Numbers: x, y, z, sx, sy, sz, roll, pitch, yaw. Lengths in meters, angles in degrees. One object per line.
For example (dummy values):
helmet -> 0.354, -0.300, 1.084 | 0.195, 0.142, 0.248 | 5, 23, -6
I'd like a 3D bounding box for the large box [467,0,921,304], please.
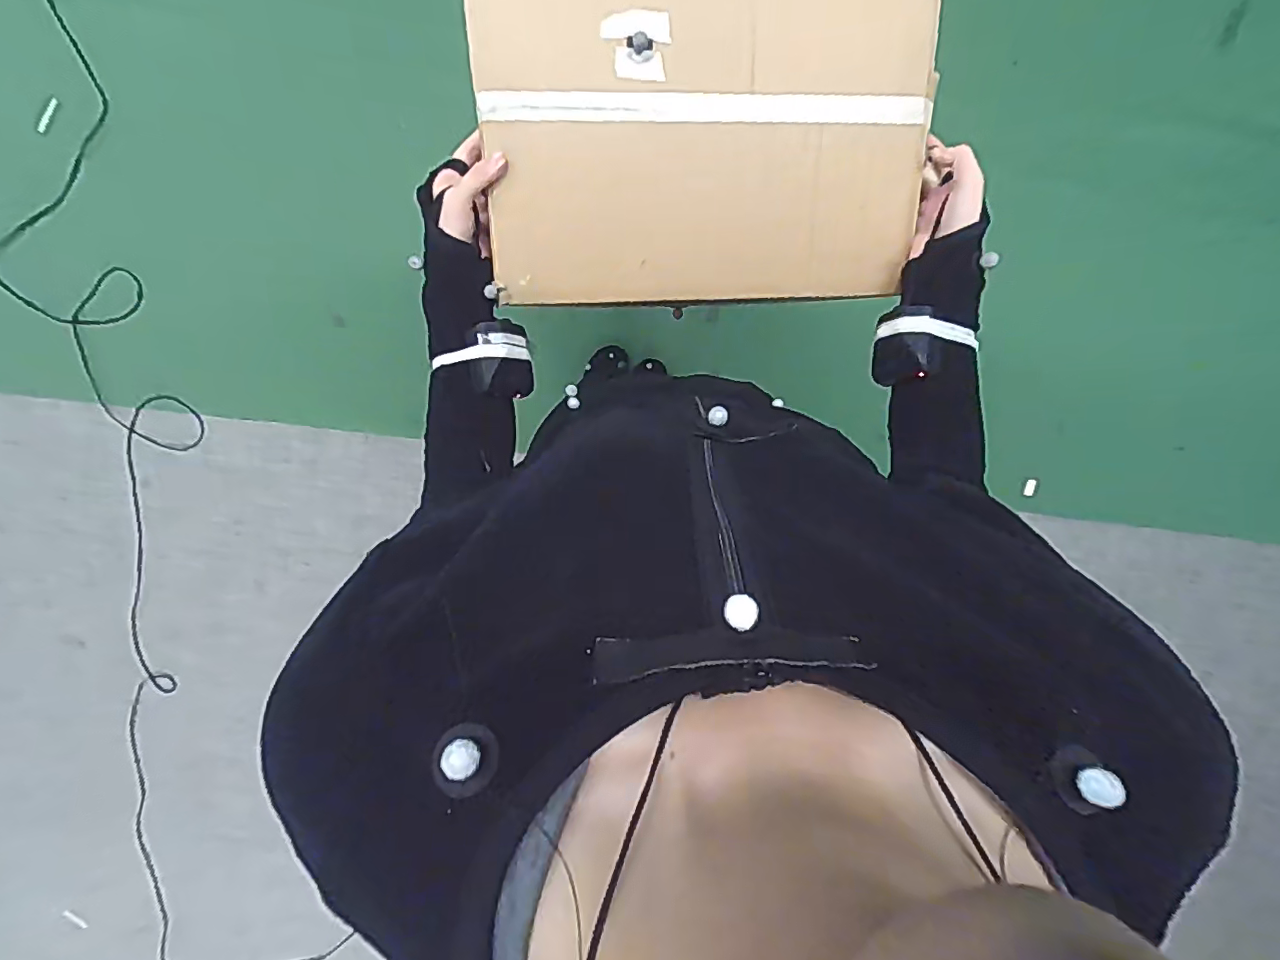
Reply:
large box -> 0.040, -0.374, 0.630 | 0.408, 0.320, 0.320 | -3, 107, -6
